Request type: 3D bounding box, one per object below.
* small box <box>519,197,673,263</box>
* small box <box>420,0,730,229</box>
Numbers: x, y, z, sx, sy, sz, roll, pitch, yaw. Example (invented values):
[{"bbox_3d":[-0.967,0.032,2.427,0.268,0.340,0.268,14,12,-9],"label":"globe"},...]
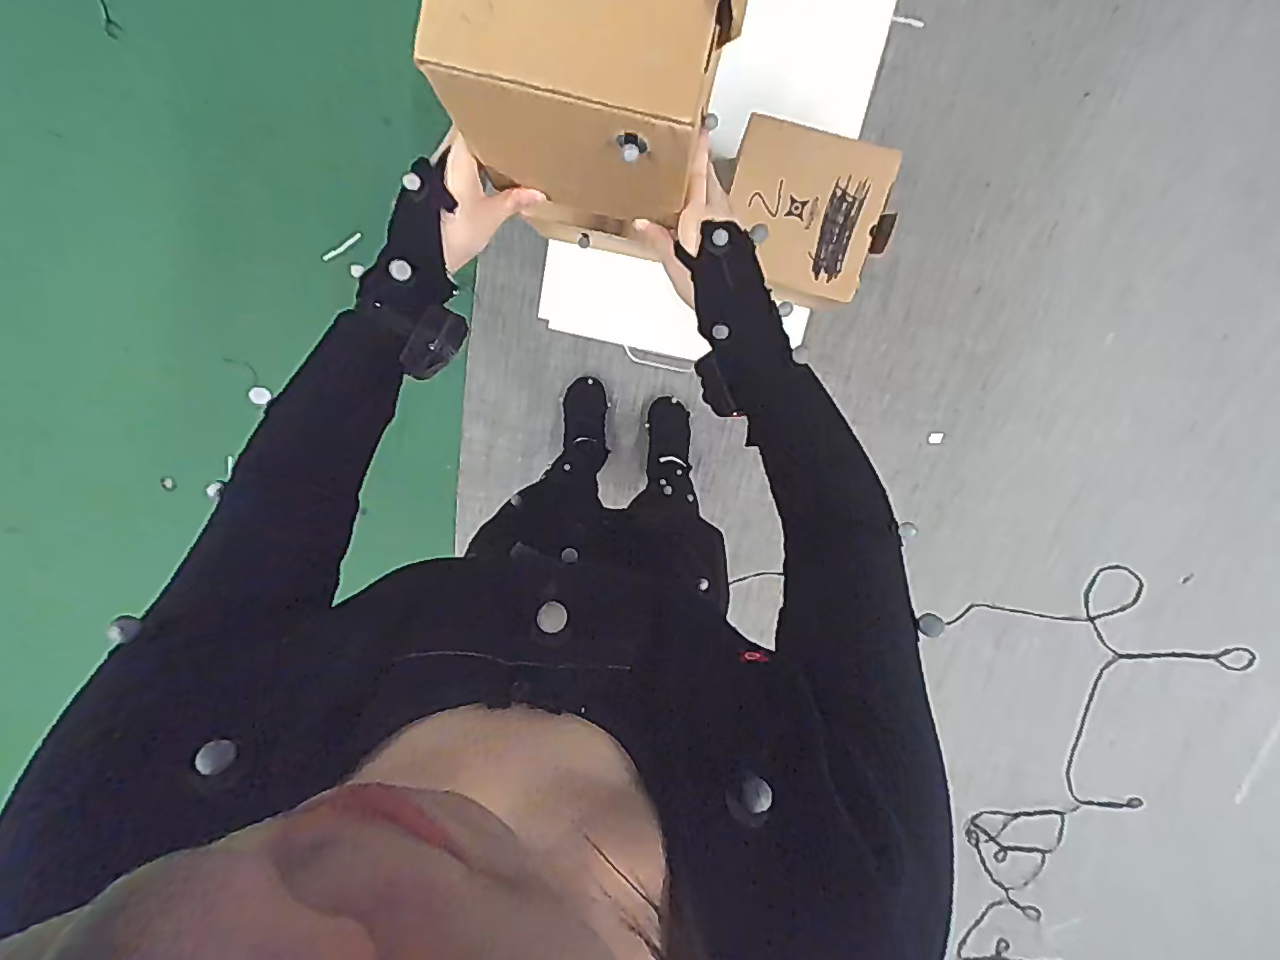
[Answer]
[{"bbox_3d":[-0.038,-0.382,0.684,0.179,0.176,0.168,12,106,-2],"label":"small box"},{"bbox_3d":[-0.033,-0.314,0.406,0.179,0.176,0.168,13,94,-2],"label":"small box"}]
